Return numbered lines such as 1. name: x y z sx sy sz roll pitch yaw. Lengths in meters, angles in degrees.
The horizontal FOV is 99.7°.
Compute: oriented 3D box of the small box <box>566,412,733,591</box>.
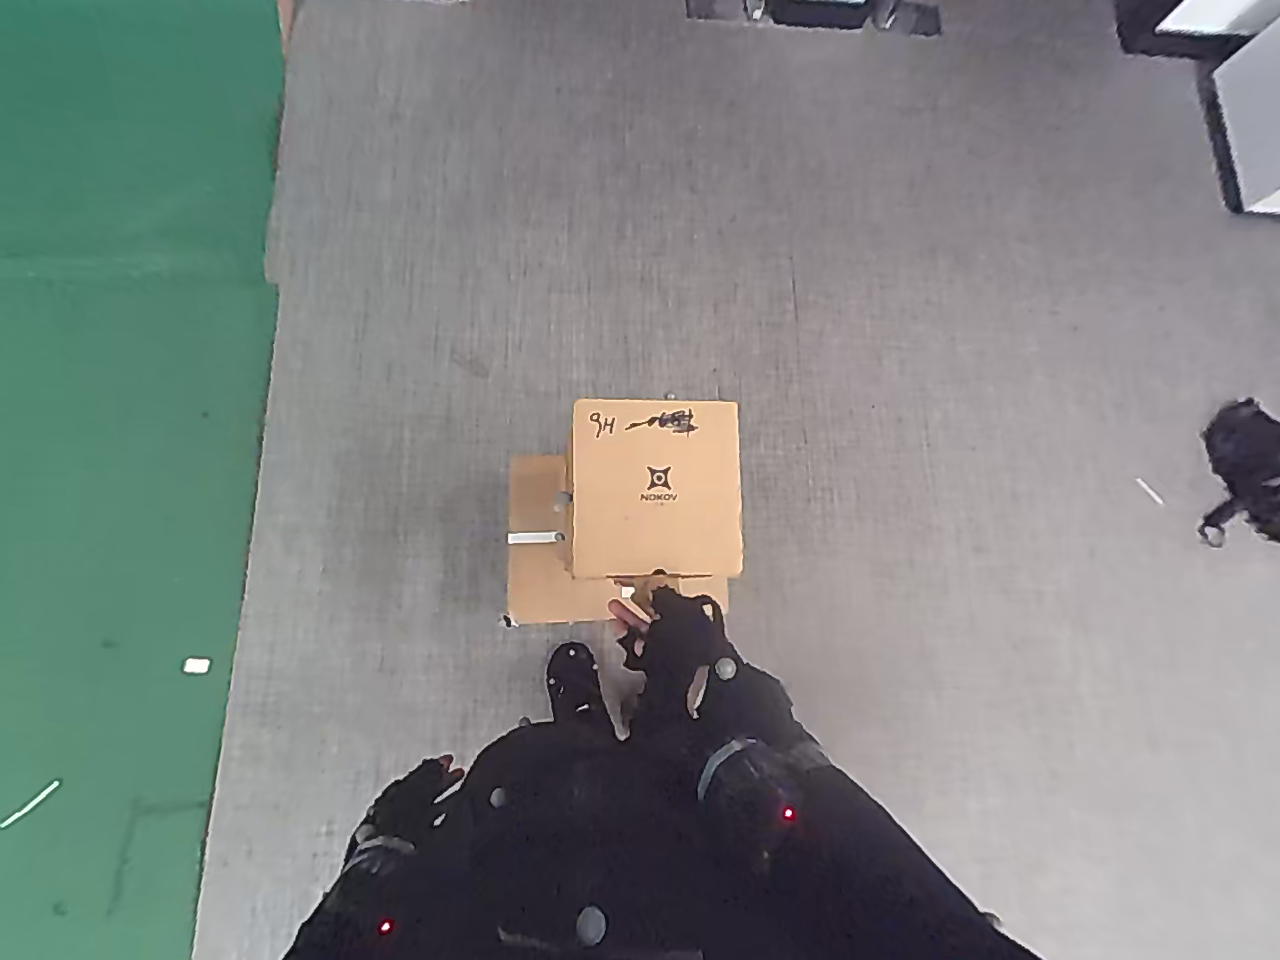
1. small box: 0.003 0.026 0.610 0.168 0.176 0.179 0 84 -6
